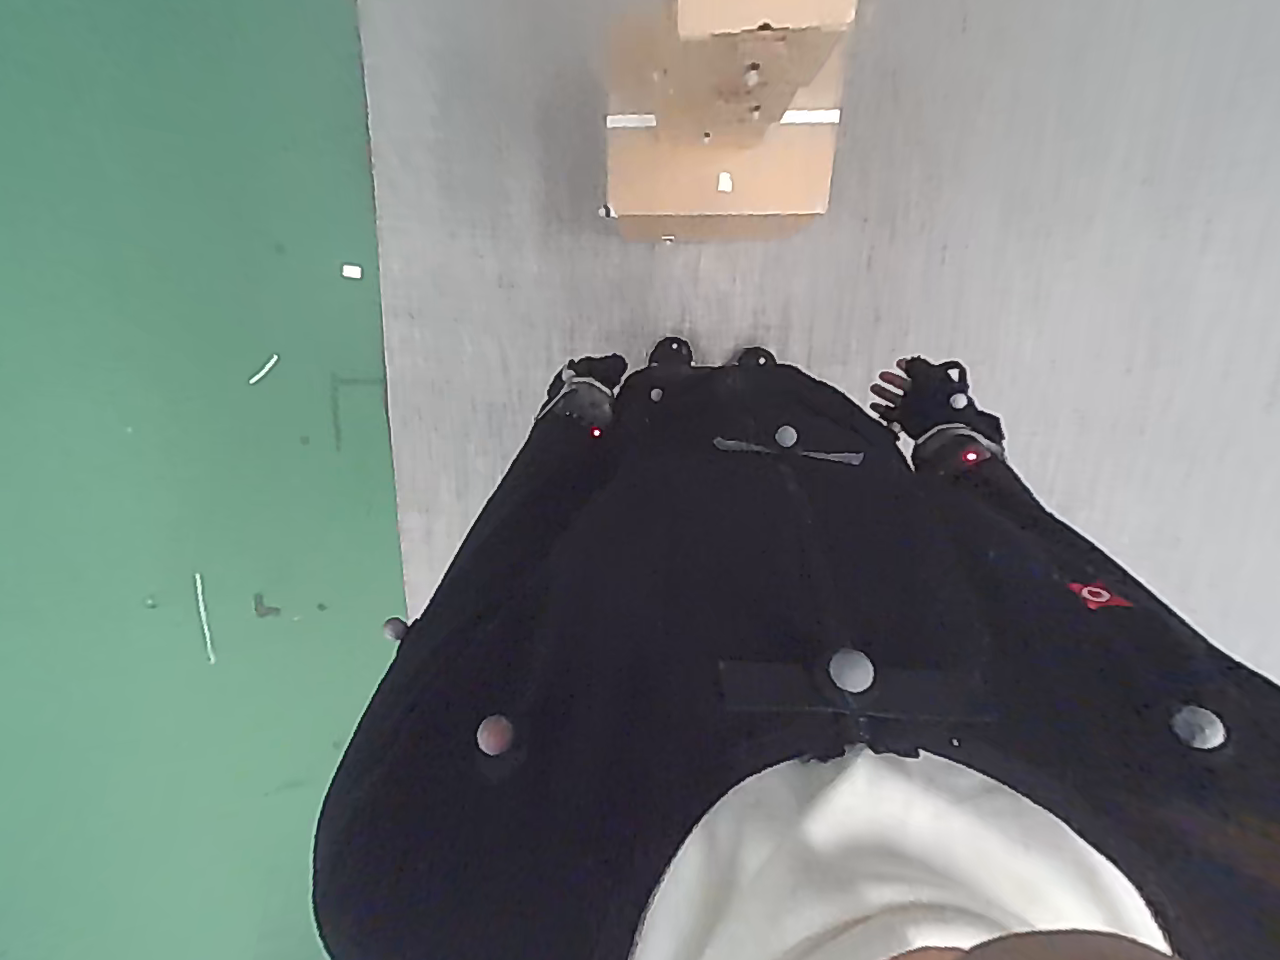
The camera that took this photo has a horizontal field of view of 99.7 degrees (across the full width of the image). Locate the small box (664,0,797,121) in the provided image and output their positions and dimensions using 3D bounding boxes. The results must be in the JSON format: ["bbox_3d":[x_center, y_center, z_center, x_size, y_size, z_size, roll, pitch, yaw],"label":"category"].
[{"bbox_3d":[0.117,-0.592,0.712,0.168,0.176,0.179,0,110,4],"label":"small box"}]

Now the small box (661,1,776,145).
[{"bbox_3d":[0.124,-0.648,0.864,0.179,0.176,0.168,2,112,4],"label":"small box"}]

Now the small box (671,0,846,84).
[{"bbox_3d":[0.118,-0.534,0.559,0.168,0.176,0.179,0,112,5],"label":"small box"}]
